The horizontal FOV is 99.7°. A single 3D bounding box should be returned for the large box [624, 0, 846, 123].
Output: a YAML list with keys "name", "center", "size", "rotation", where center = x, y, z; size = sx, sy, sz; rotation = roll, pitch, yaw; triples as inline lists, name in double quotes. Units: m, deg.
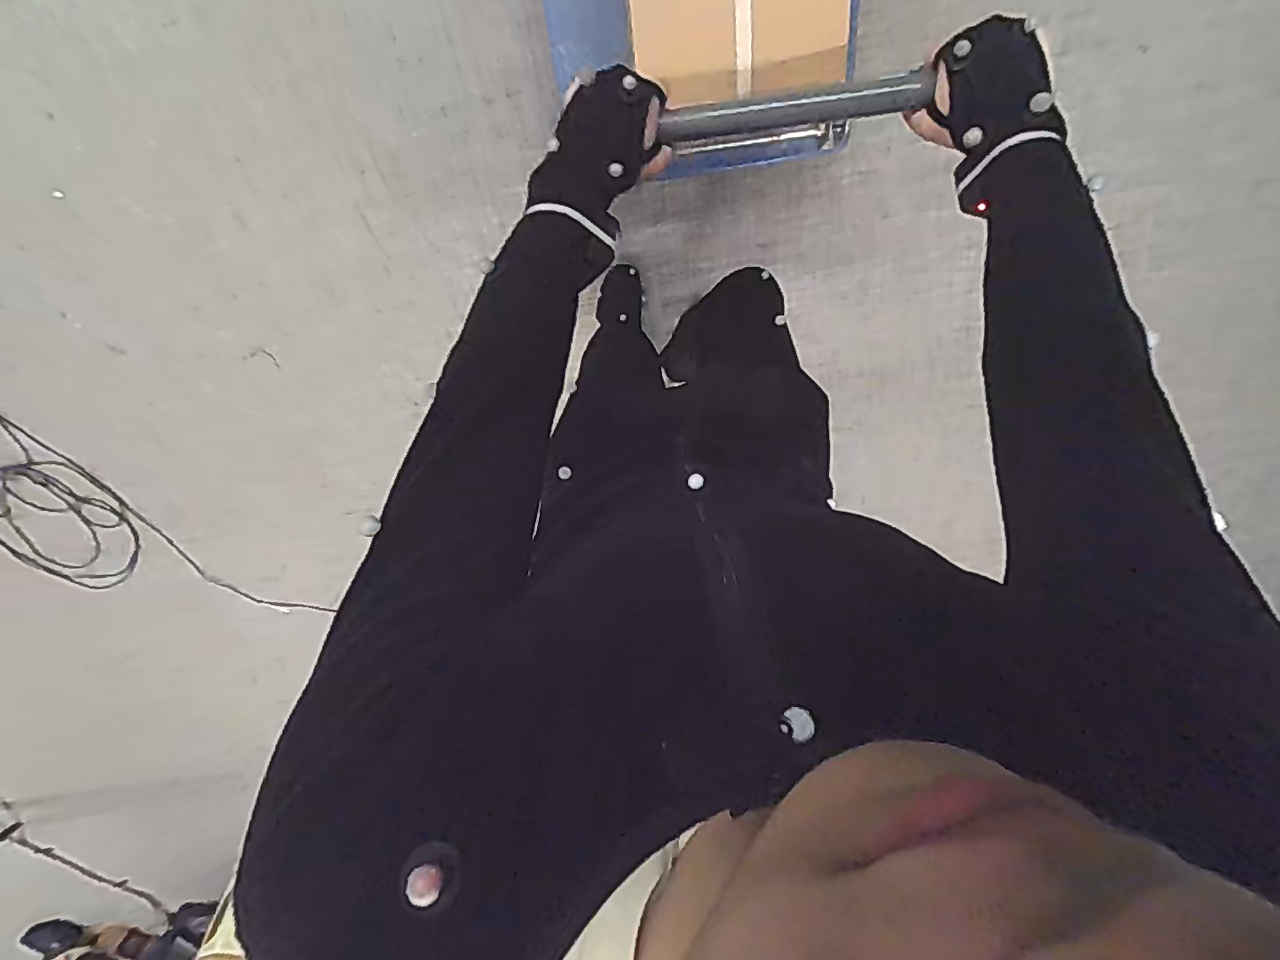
- name: "large box"
  center: [0.125, -0.828, 0.848]
  size: [0.320, 0.320, 0.408]
  rotation: [-6, 120, 2]
